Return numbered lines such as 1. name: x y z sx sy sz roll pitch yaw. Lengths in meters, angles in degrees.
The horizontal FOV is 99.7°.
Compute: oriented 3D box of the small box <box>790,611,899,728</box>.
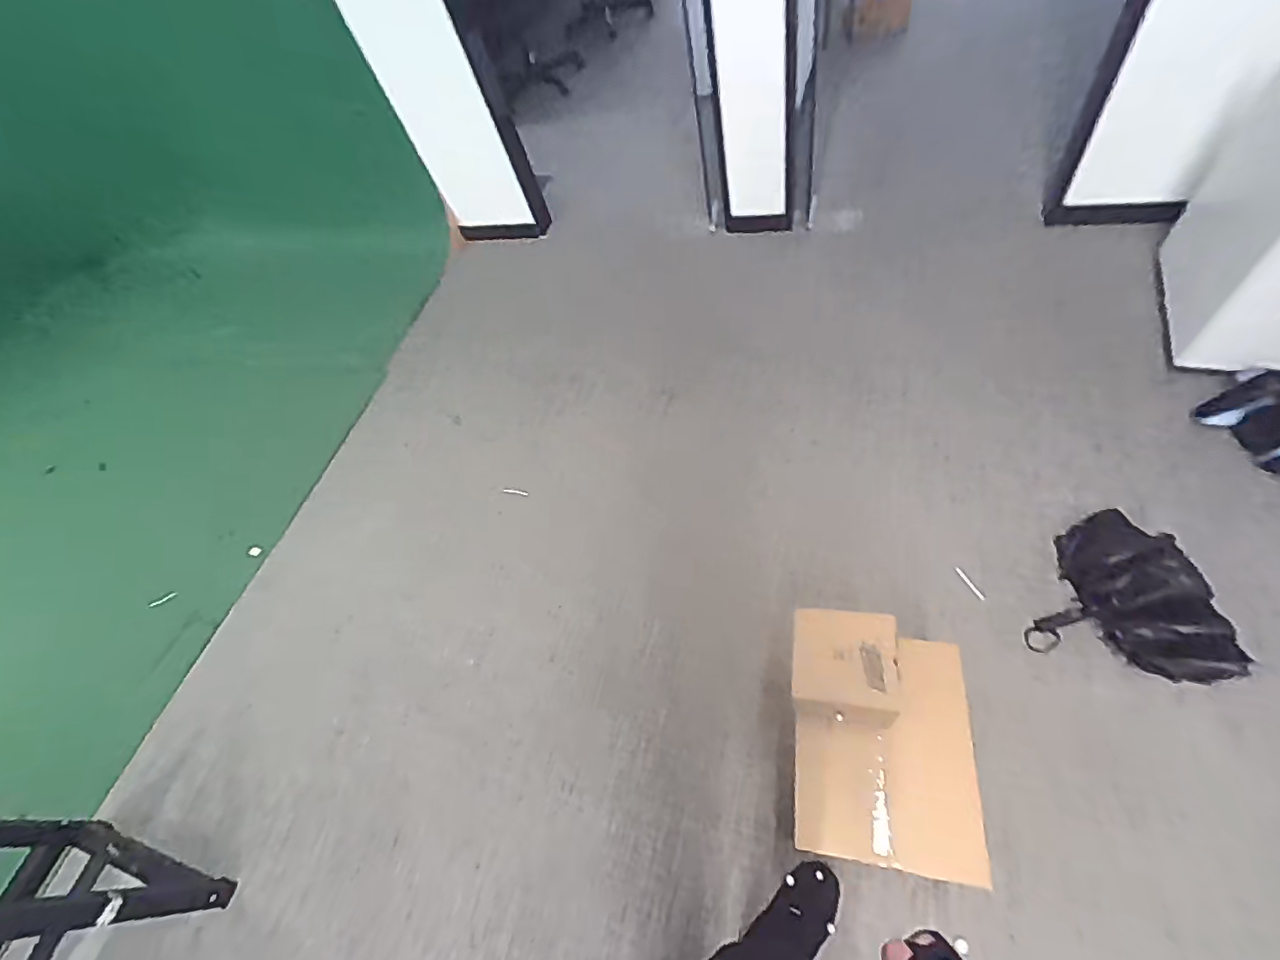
1. small box: 0.383 0.361 1.022 0.179 0.176 0.168 0 58 20
